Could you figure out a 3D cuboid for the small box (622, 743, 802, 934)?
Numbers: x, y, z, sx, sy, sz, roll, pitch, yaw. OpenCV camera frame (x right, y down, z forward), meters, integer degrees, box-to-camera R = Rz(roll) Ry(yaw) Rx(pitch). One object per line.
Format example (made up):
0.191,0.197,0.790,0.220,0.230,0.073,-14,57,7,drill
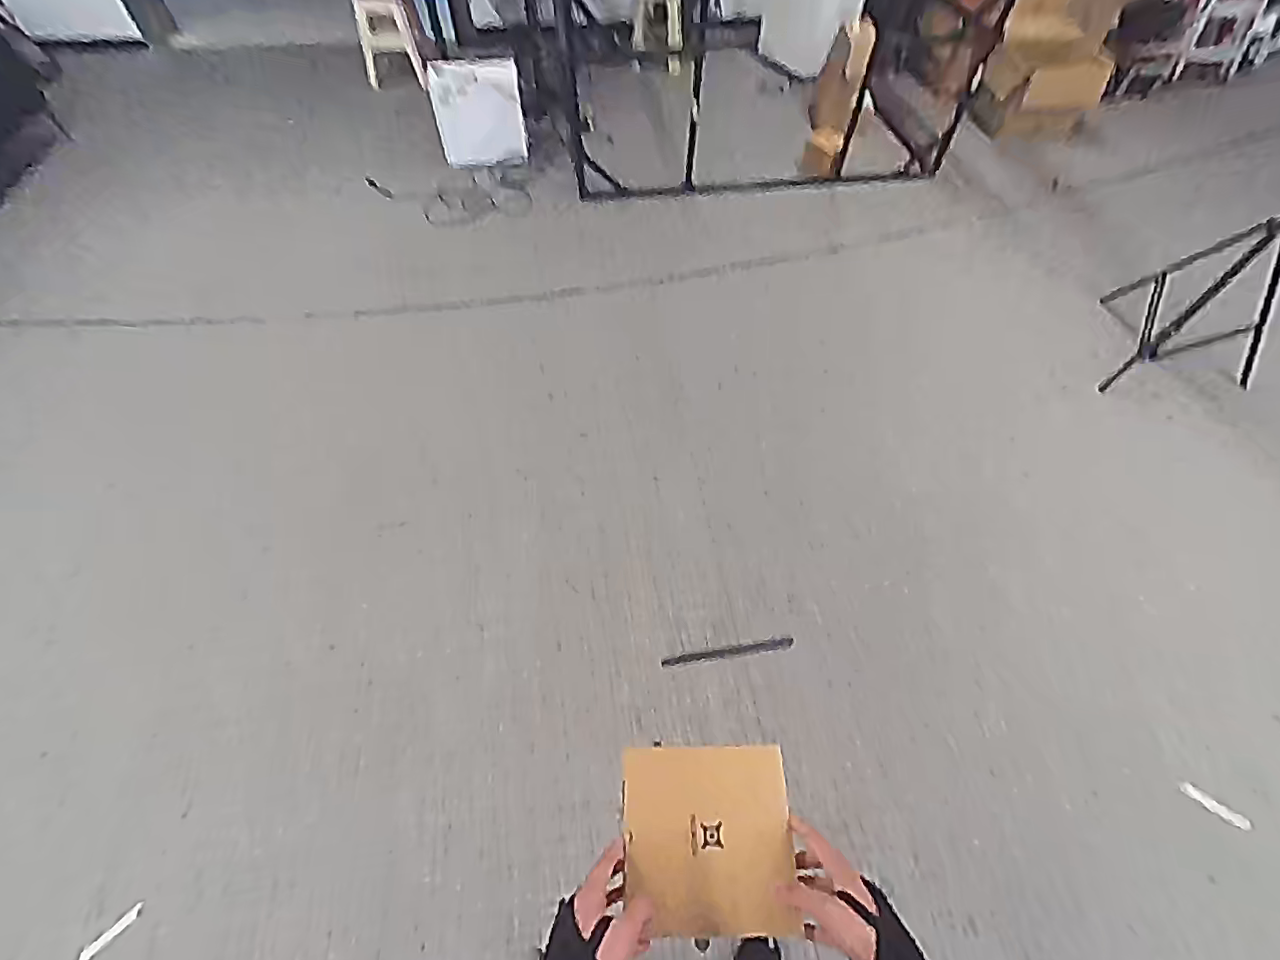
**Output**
0.069,0.396,0.625,0.179,0.176,0.168,-2,62,0,small box
